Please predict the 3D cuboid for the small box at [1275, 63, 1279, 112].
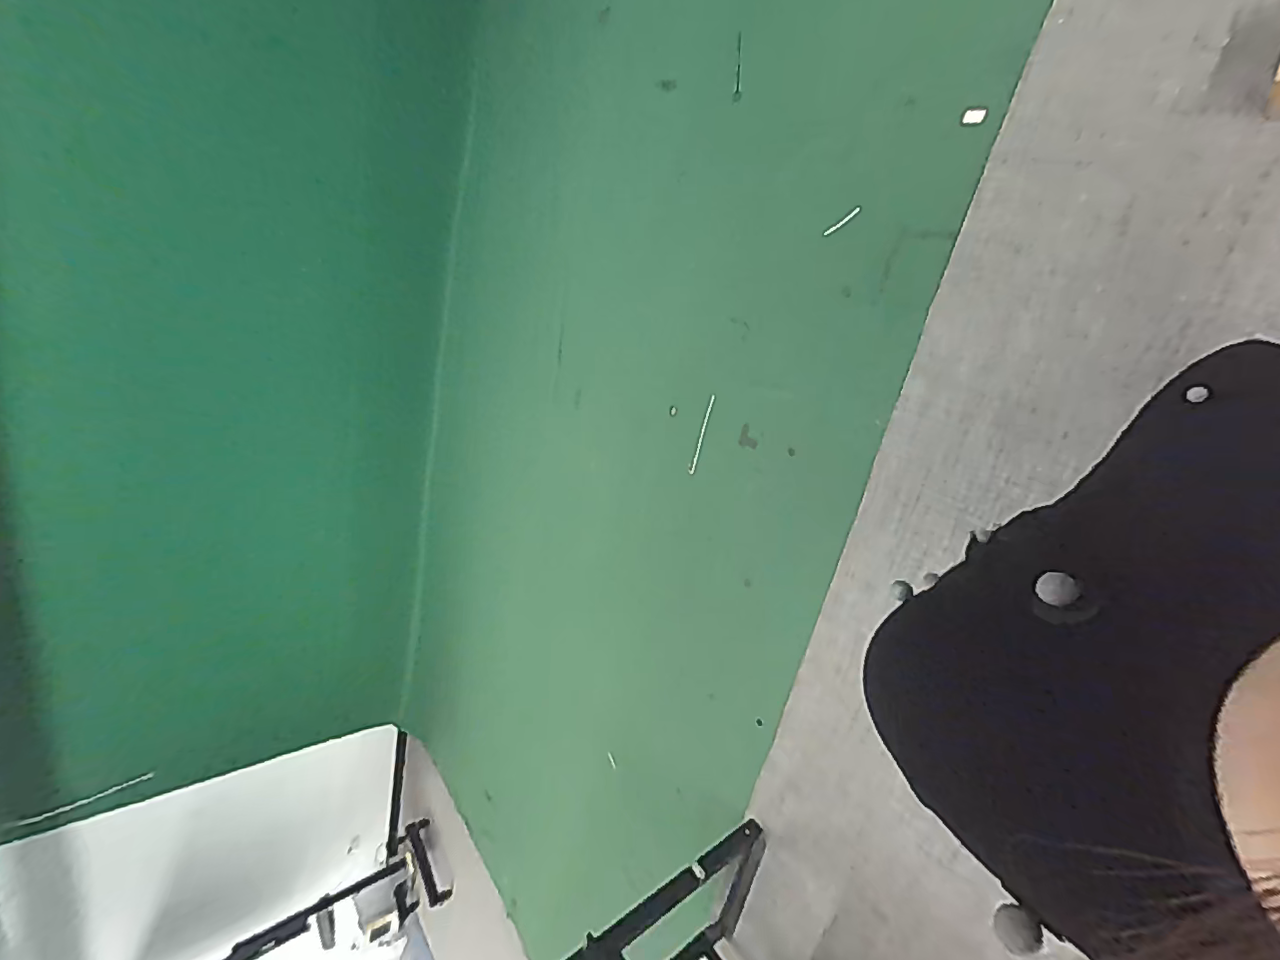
[{"bbox_3d":[1.150,-0.712,0.846,0.168,0.176,0.179,25,111,45],"label":"small box"}]
